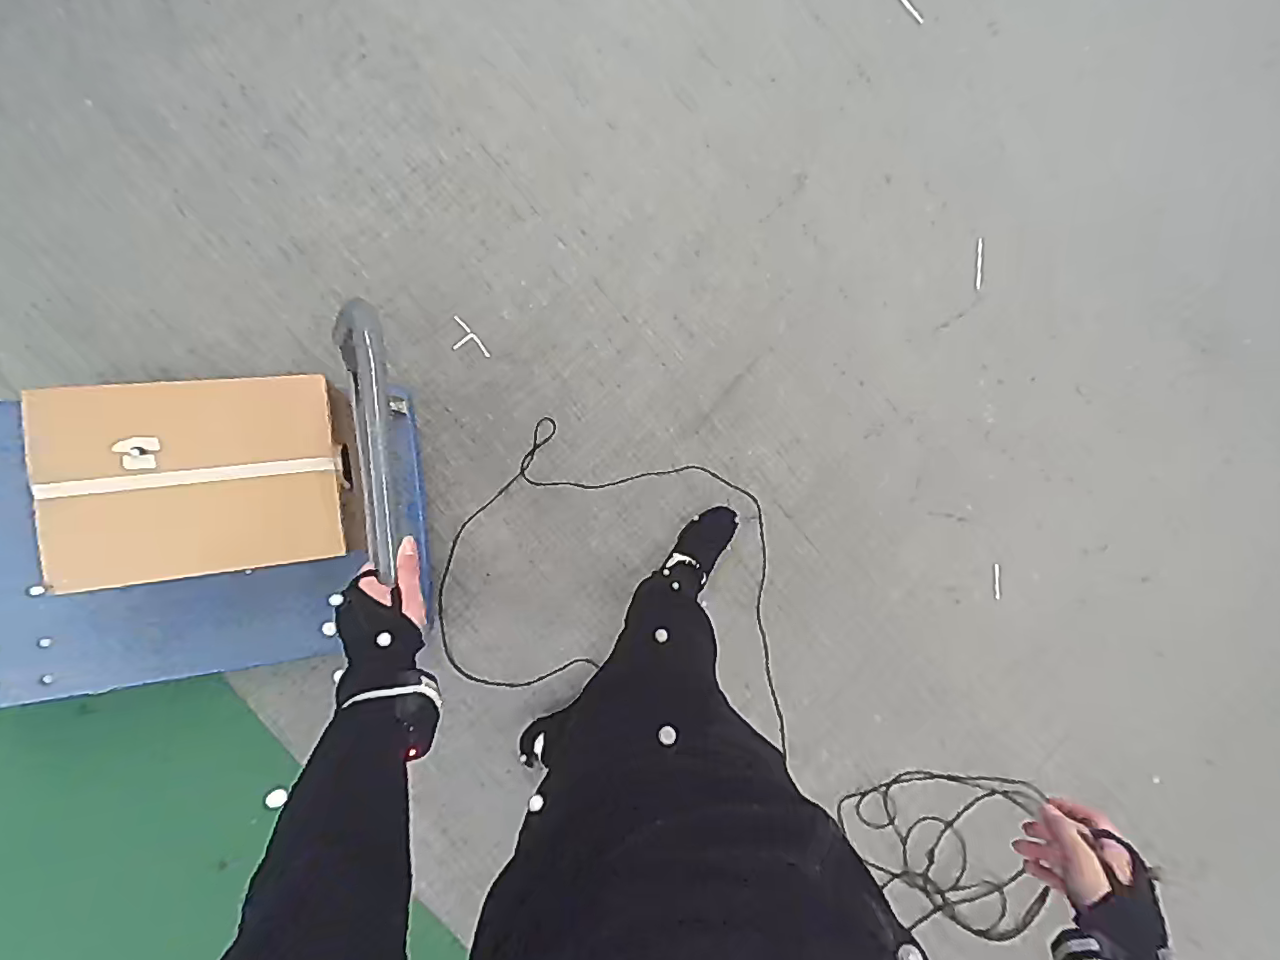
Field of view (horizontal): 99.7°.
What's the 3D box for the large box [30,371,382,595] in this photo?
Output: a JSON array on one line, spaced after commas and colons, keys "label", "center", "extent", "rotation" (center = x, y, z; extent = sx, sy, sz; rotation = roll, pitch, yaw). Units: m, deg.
[{"label": "large box", "center": [-0.739, -0.002, 1.002], "extent": [0.408, 0.320, 0.320], "rotation": [-8, 90, -16]}]
